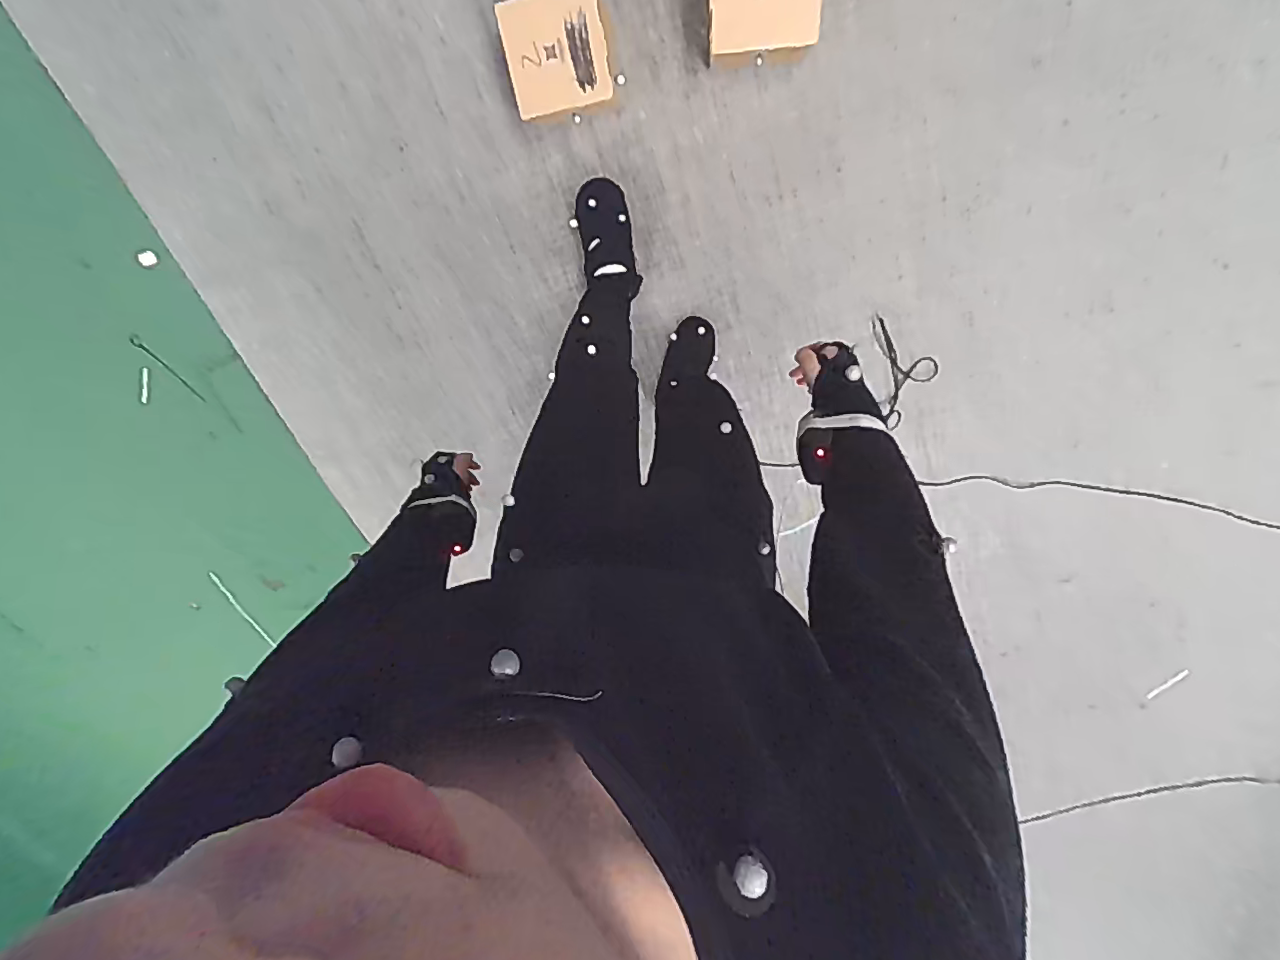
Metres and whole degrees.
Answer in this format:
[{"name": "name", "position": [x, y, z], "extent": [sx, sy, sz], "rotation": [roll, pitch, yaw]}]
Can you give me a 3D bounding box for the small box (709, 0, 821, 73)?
[{"name": "small box", "position": [0.206, -0.808, 0.917], "extent": [0.179, 0.176, 0.168], "rotation": [0, 119, 6]}]
